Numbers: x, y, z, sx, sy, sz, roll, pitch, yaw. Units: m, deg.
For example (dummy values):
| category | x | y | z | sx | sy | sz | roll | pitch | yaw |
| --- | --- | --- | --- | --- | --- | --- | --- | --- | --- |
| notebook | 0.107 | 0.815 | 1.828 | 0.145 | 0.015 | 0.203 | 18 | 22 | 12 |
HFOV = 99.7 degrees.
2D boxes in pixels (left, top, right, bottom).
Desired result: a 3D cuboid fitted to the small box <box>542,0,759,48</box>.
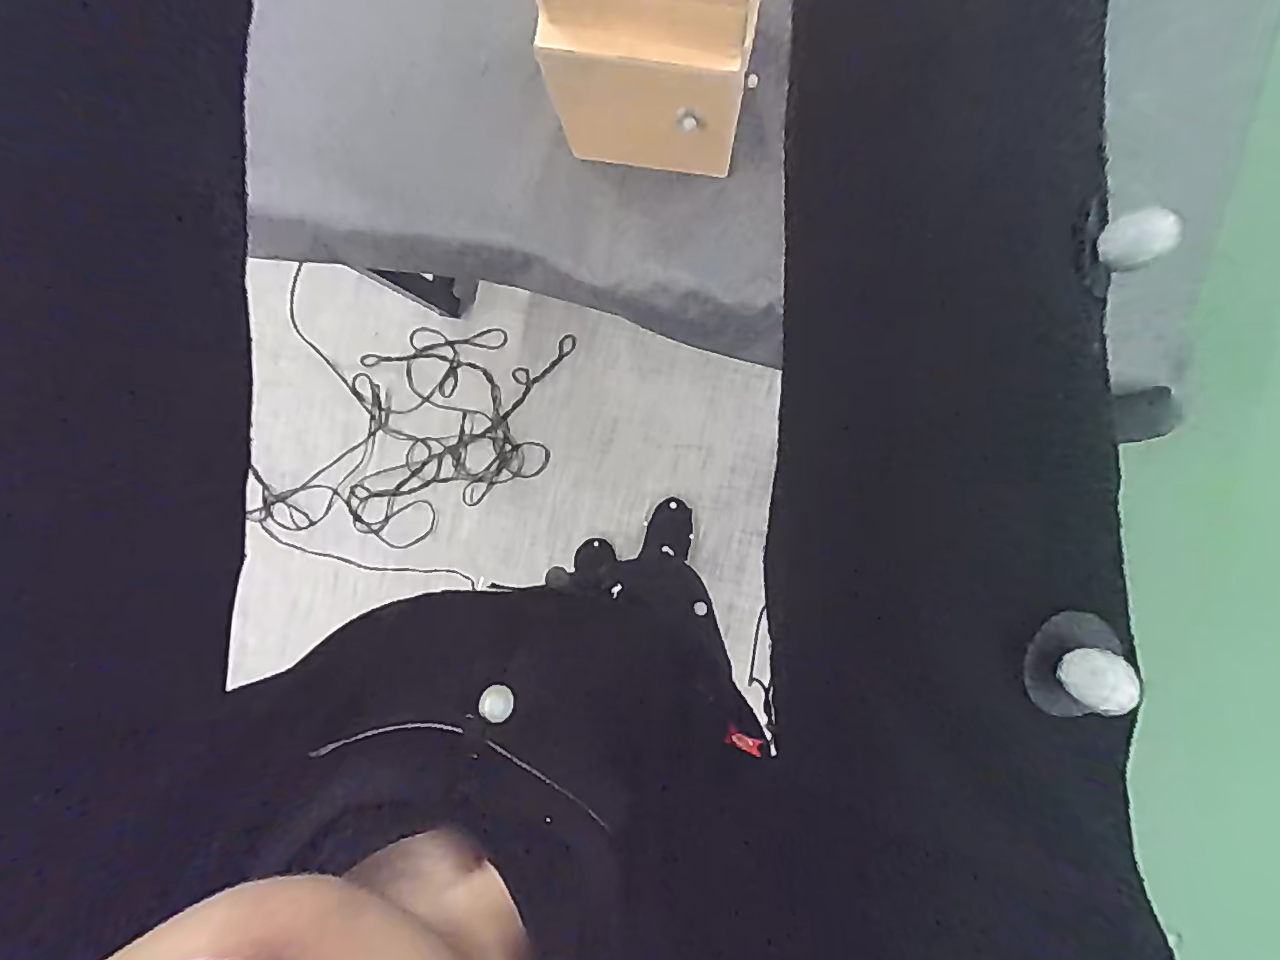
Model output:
| category | x | y | z | sx | sy | sz | roll | pitch | yaw |
| --- | --- | --- | --- | --- | --- | --- | --- | --- | --- |
| small box | 0.012 | -0.436 | 0.358 | 0.179 | 0.176 | 0.168 | 14 | 93 | 4 |
